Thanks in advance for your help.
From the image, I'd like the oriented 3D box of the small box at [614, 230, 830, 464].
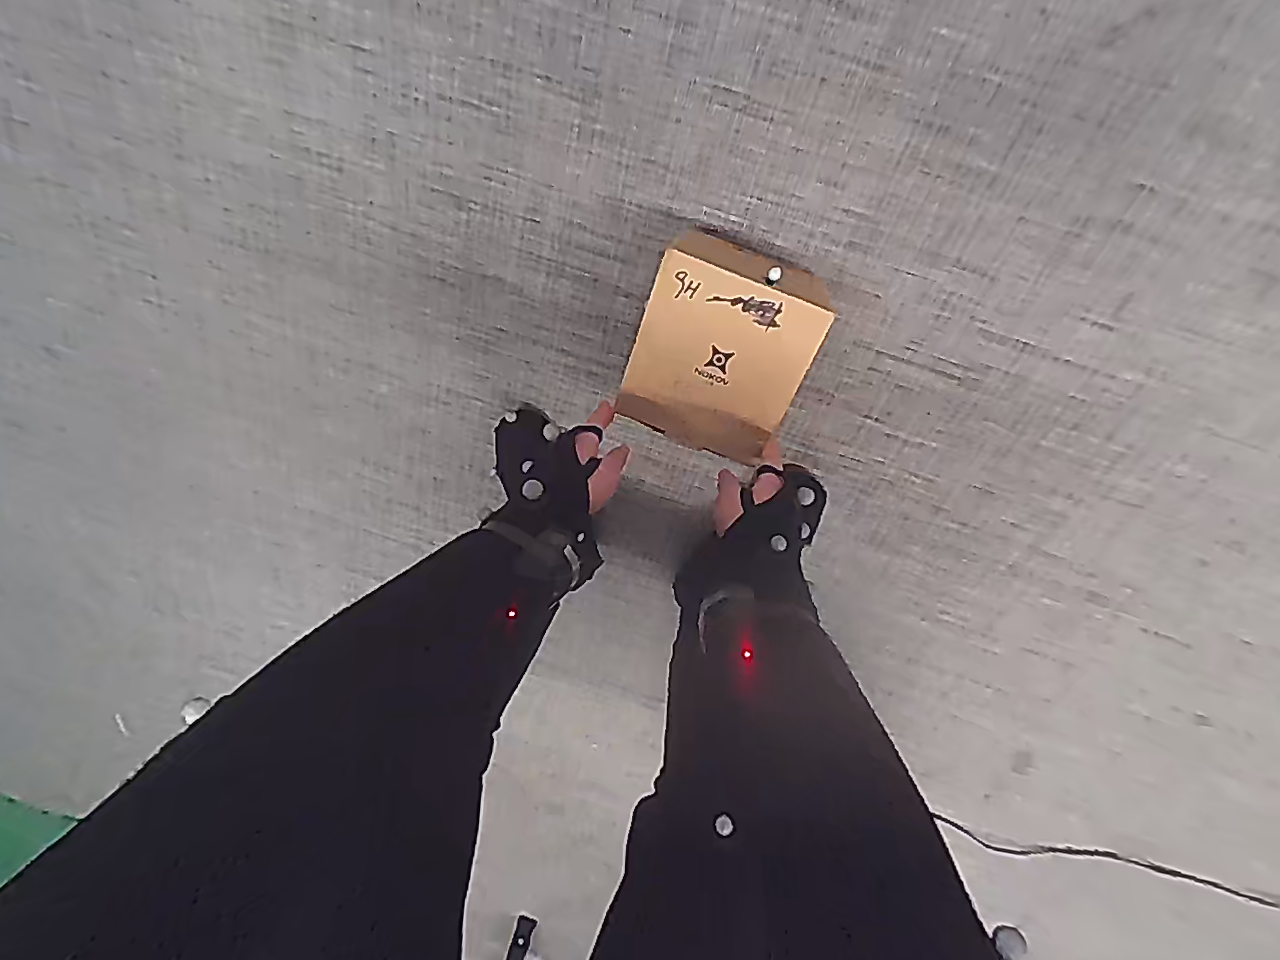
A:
[{"bbox_3d":[0.090,-0.153,0.600,0.168,0.176,0.179,22,123,0],"label":"small box"}]
